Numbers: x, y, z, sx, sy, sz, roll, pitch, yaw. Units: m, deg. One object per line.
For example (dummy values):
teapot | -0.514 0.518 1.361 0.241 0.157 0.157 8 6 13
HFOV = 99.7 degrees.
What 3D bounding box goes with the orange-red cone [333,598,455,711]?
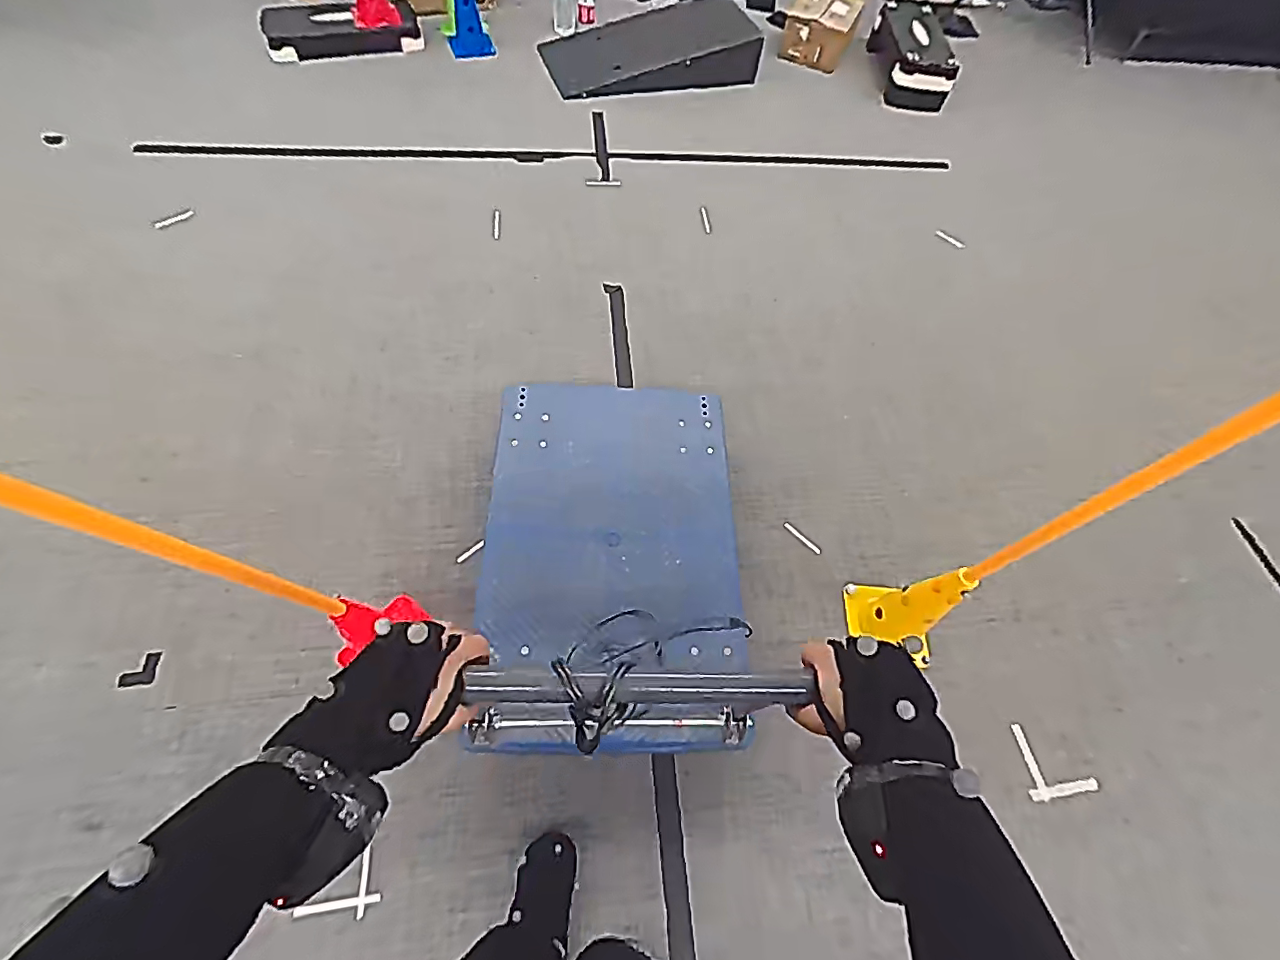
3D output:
orange-red cone | -0.532 0.306 1.084 0.198 0.360 0.199 38 62 14
